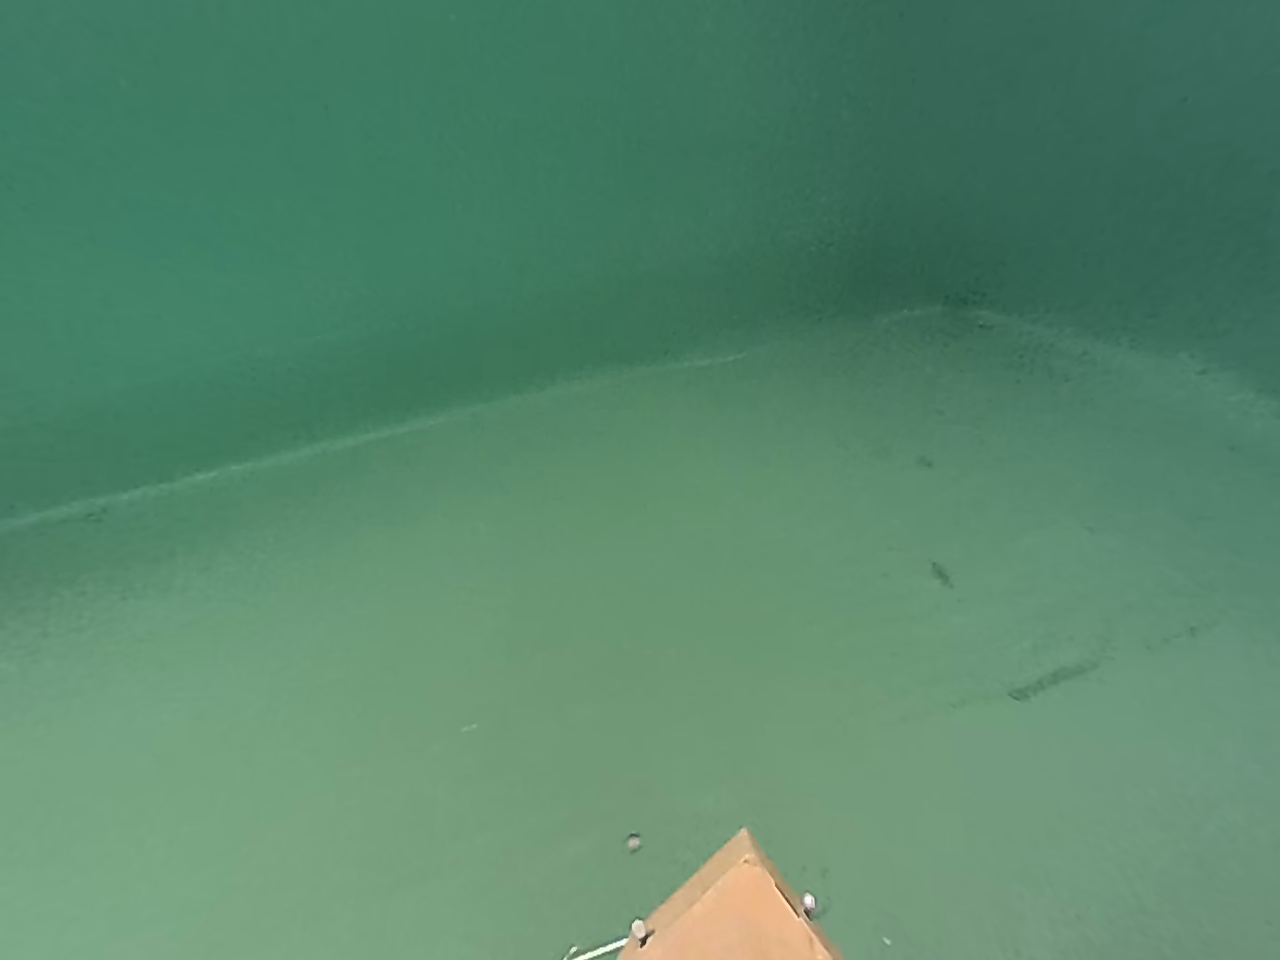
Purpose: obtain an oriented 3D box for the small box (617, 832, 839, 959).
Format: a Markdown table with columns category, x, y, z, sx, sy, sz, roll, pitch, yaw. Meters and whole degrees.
| category | x | y | z | sx | sy | sz | roll | pitch | yaw |
| --- | --- | --- | --- | --- | --- | --- | --- | --- | --- |
| small box | 0.089 | 0.468 | 0.499 | 0.179 | 0.176 | 0.168 | -37 | 66 | -12 |
